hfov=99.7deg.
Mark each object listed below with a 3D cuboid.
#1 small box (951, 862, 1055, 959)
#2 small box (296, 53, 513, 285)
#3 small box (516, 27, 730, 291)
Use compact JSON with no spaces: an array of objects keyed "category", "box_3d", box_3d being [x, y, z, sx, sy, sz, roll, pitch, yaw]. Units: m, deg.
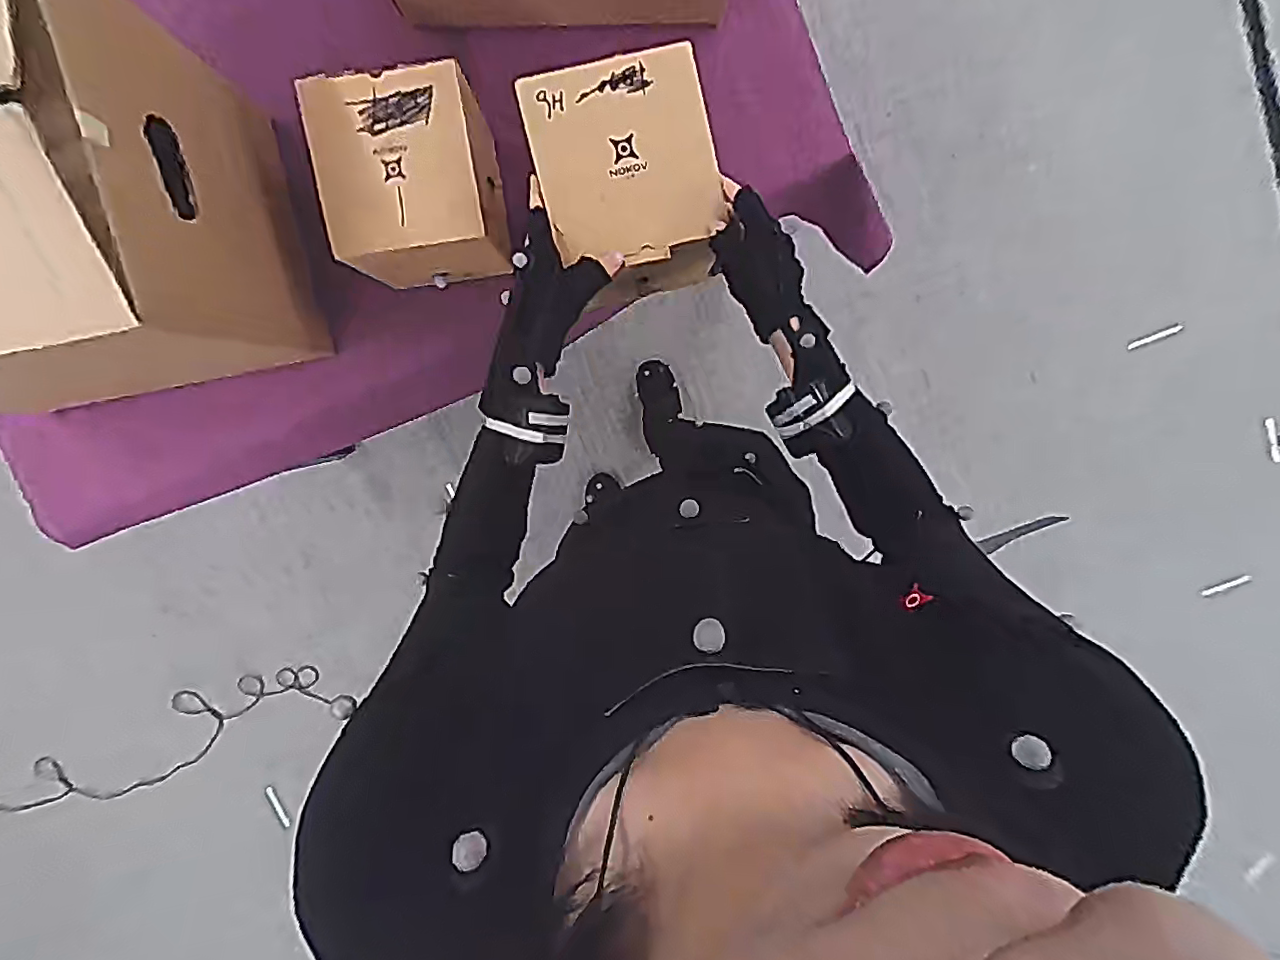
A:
[{"category":"small box","box_3d":[1.105,1.341,1.667,0.168,0.176,0.179,32,95,-7]},{"category":"small box","box_3d":[-0.255,-0.343,0.629,0.168,0.176,0.179,-8,99,-1]},{"category":"small box","box_3d":[-0.015,-0.310,0.567,0.168,0.176,0.179,-14,97,-1]}]
